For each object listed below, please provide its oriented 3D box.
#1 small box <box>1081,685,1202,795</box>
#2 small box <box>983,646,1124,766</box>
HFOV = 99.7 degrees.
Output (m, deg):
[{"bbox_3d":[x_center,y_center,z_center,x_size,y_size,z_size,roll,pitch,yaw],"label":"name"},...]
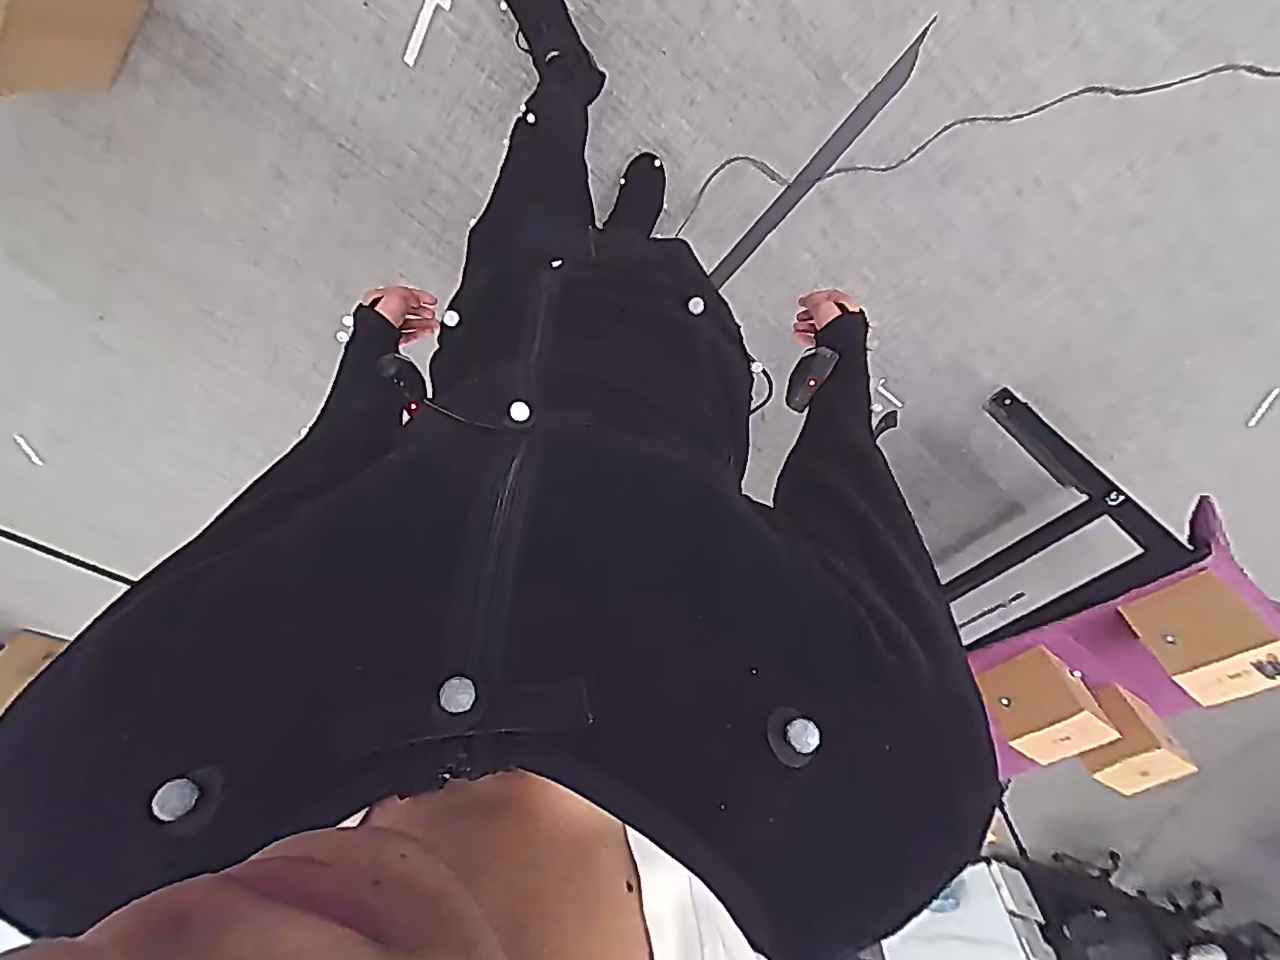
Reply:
[{"bbox_3d":[1.179,0.630,1.317,0.179,0.176,0.168,31,121,-19],"label":"small box"},{"bbox_3d":[0.923,0.512,1.231,0.168,0.176,0.179,34,121,-22],"label":"small box"}]
